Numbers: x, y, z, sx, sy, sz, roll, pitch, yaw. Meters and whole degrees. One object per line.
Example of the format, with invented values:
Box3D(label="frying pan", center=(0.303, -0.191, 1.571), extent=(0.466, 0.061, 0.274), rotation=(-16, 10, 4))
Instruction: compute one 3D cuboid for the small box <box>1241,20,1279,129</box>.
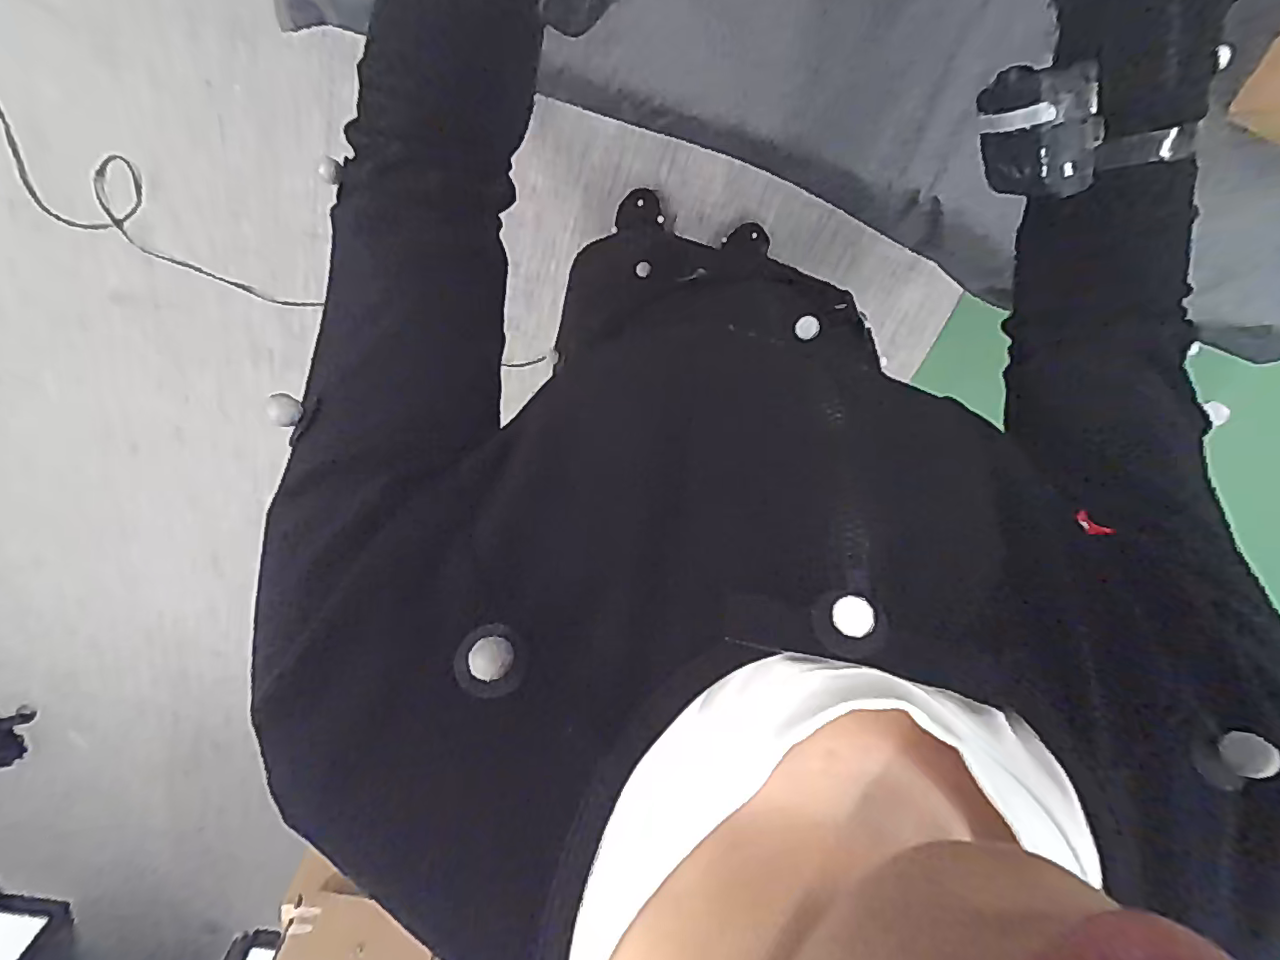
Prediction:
Box3D(label="small box", center=(0.685, -0.384, 0.449), extent=(0.168, 0.176, 0.179), rotation=(15, 119, -9))
